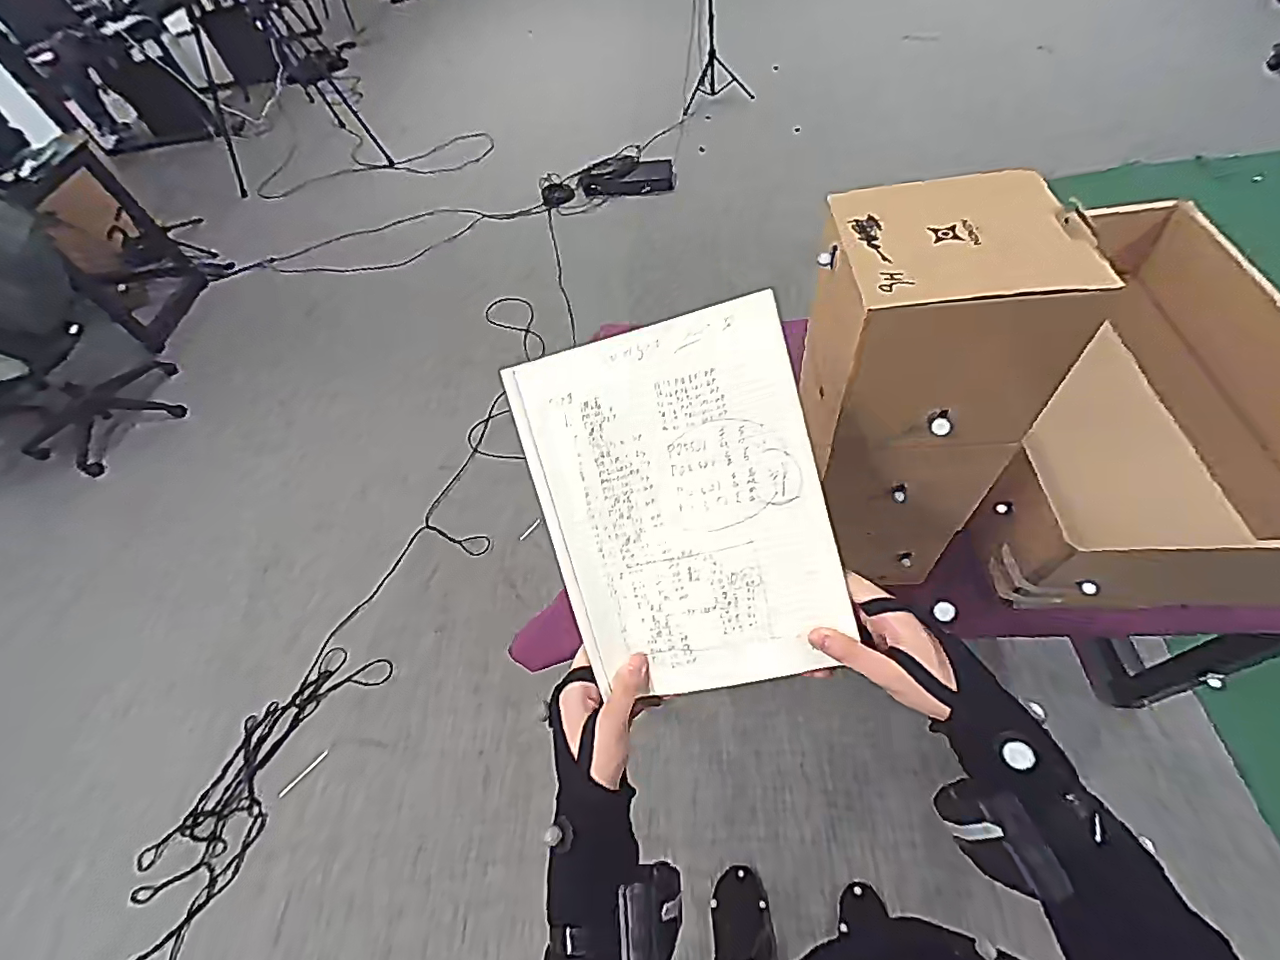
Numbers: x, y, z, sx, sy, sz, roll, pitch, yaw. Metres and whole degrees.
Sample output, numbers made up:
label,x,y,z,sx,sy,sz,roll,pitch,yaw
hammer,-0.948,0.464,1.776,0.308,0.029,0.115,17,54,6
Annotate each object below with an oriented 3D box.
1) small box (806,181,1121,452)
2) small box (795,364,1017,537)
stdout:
label,x,y,z,sx,sy,sz,roll,pitch,yaw
small box,0.260,-0.140,0.492,0.179,0.176,0.168,-3,53,7
small box,0.284,-0.044,0.625,0.179,0.176,0.168,-3,54,9
